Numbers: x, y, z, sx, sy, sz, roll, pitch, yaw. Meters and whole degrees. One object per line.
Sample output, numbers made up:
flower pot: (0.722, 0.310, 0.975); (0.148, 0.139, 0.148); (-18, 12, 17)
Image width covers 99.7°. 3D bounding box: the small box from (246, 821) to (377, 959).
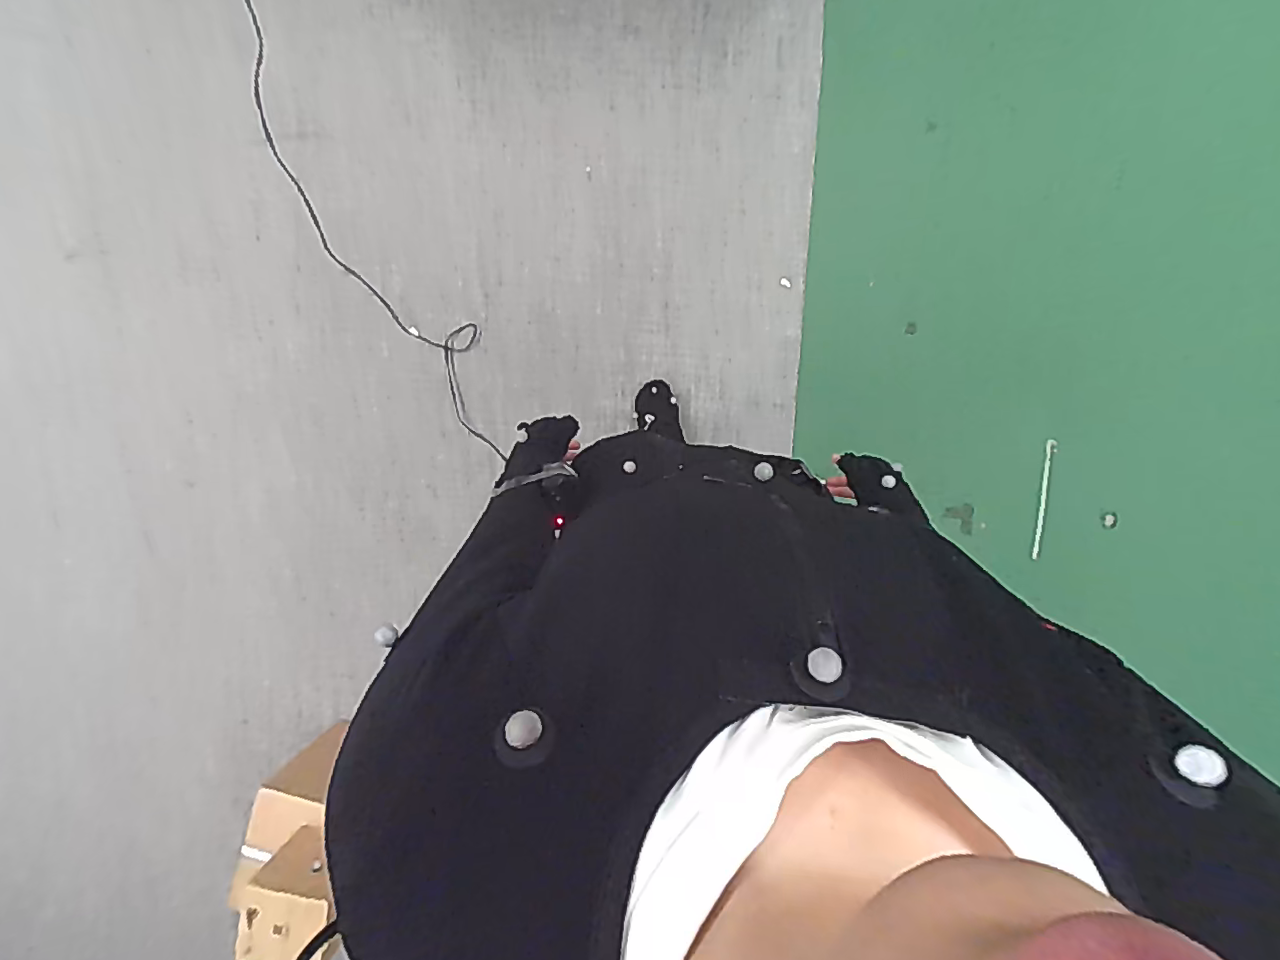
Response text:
small box: (-0.694, 0.872, 1.160); (0.179, 0.176, 0.168); (10, 94, 1)
